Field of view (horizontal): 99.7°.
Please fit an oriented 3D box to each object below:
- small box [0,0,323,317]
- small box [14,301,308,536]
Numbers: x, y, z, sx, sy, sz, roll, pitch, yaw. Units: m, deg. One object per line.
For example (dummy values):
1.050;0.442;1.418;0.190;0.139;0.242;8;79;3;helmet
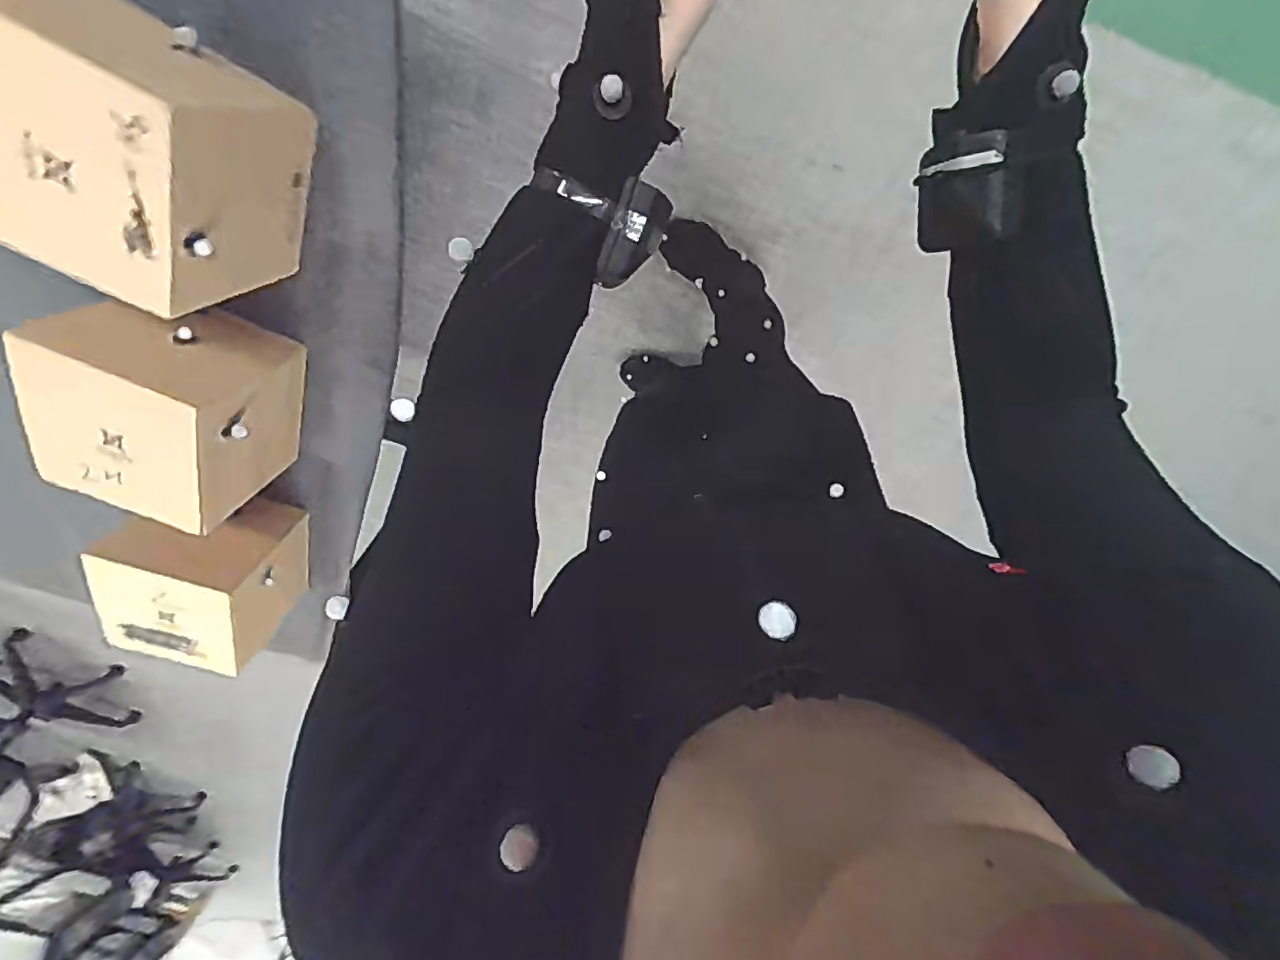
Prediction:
-0.411;-0.270;0.455;0.179;0.176;0.168;27;123;-10;small box
-0.497;-0.078;0.594;0.168;0.176;0.179;24;124;-8;small box
